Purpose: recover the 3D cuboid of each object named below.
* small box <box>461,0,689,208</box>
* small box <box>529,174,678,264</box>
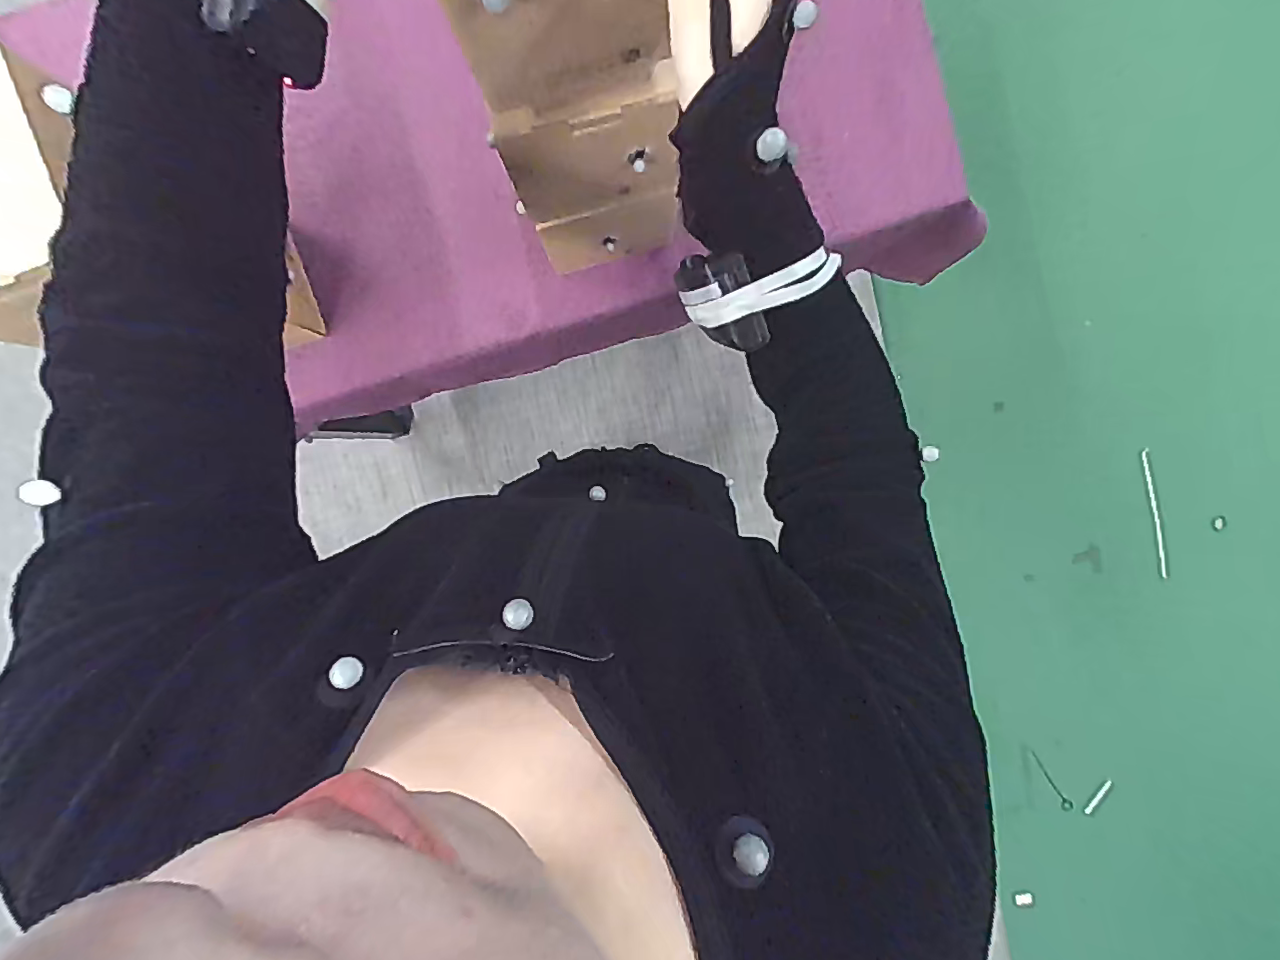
[{"bbox_3d":[-0.056,-0.378,0.501,0.168,0.176,0.179,-13,93,0],"label":"small box"},{"bbox_3d":[-0.055,-0.385,0.665,0.168,0.176,0.179,-15,93,1],"label":"small box"}]
